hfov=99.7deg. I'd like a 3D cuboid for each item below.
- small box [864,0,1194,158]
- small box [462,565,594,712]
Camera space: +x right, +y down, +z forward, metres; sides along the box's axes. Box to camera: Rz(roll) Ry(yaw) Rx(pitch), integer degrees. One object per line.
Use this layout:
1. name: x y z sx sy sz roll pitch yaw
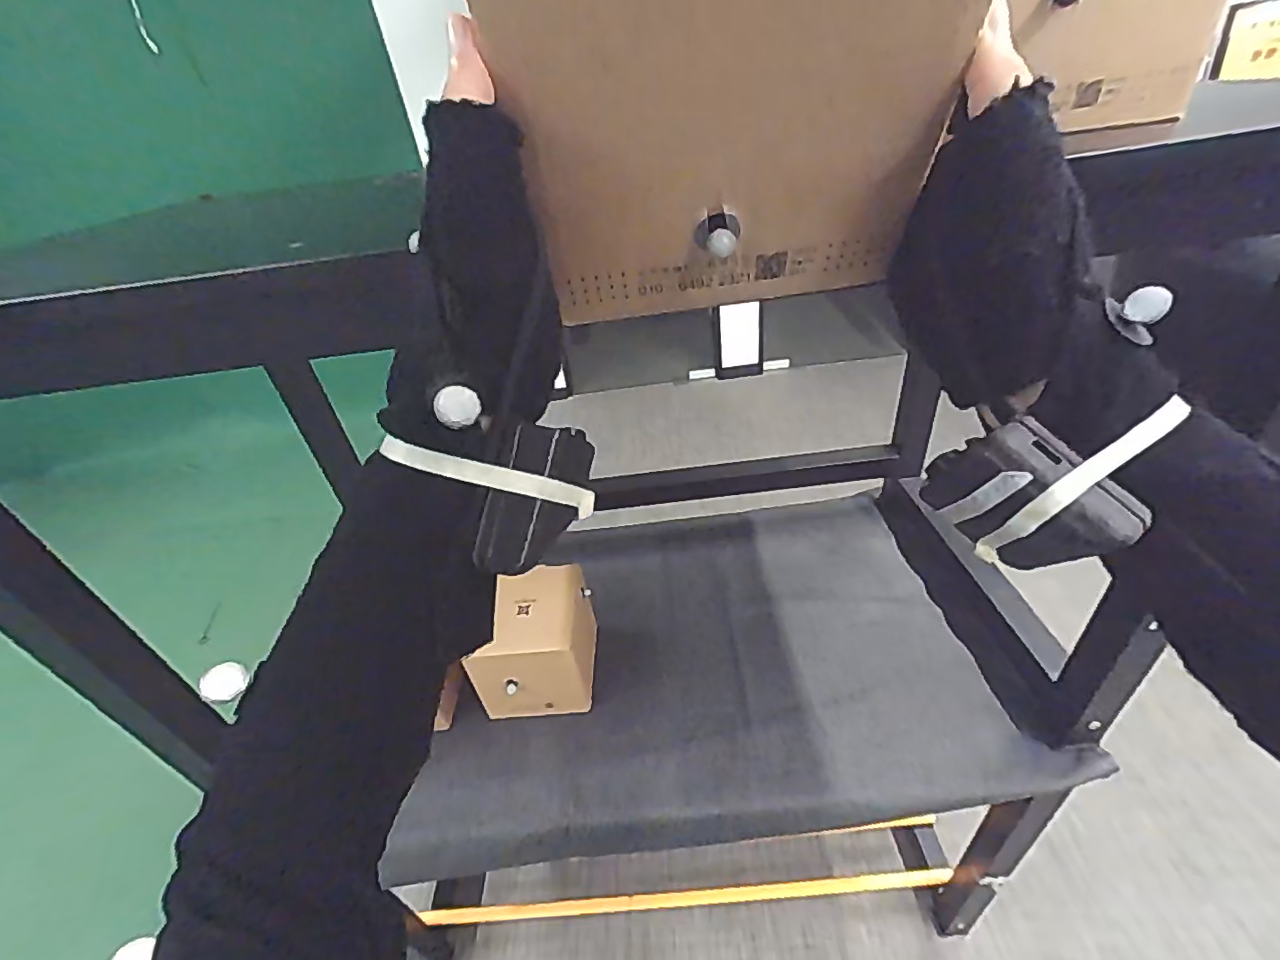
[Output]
1. small box: 0.271 -0.345 0.397 0.168 0.176 0.179 0 36 12
2. small box: -0.172 0.267 0.899 0.168 0.176 0.179 -6 35 3
